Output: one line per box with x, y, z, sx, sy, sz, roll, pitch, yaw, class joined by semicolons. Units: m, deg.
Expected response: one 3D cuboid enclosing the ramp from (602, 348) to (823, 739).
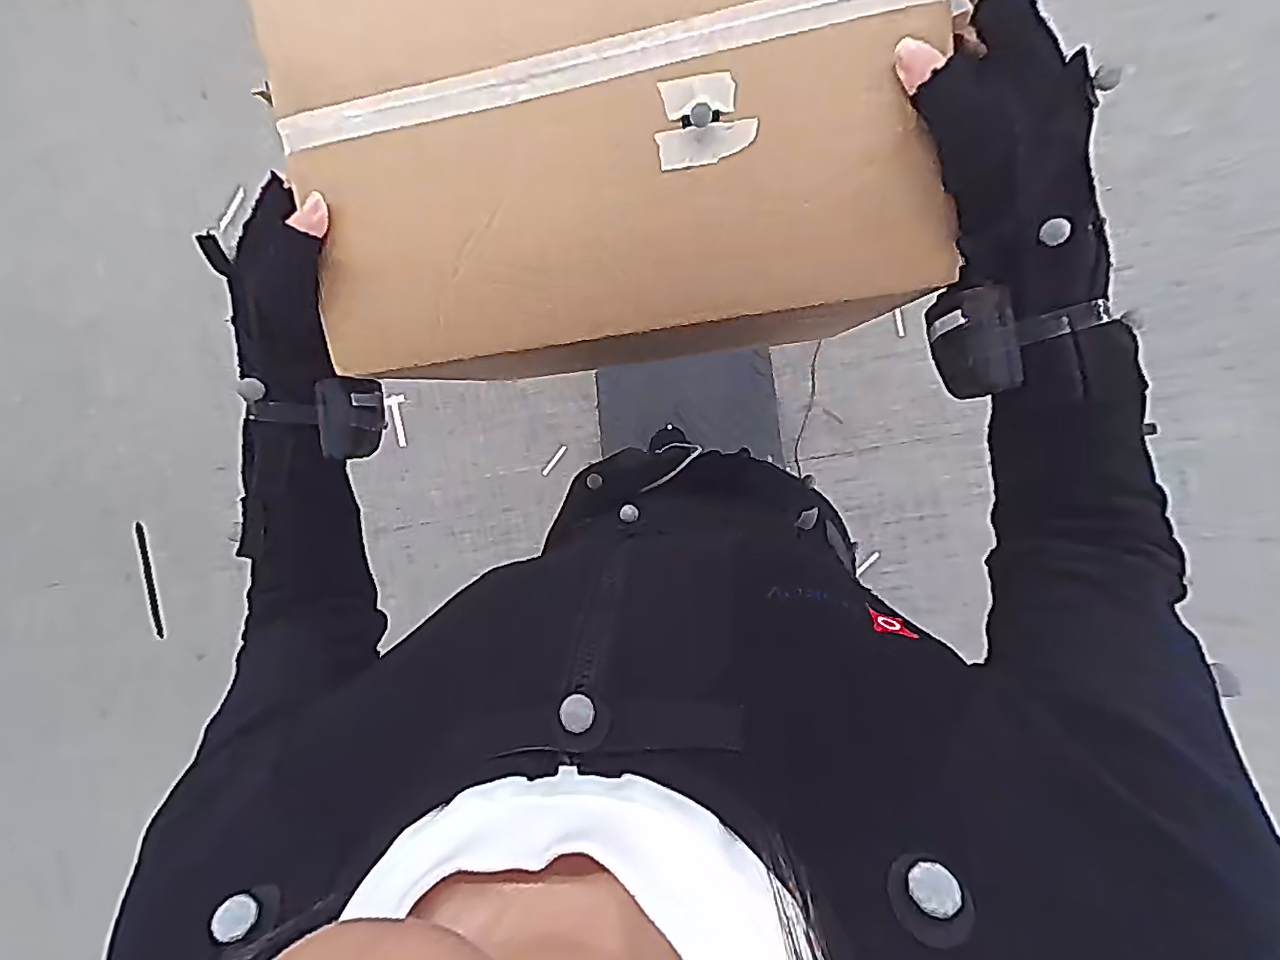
0.167;0.154;1.441;0.509;0.206;0.991;-8;90;10;ramp

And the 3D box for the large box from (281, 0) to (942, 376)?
-0.013;-0.280;0.484;0.408;0.320;0.320;-7;99;8;large box
